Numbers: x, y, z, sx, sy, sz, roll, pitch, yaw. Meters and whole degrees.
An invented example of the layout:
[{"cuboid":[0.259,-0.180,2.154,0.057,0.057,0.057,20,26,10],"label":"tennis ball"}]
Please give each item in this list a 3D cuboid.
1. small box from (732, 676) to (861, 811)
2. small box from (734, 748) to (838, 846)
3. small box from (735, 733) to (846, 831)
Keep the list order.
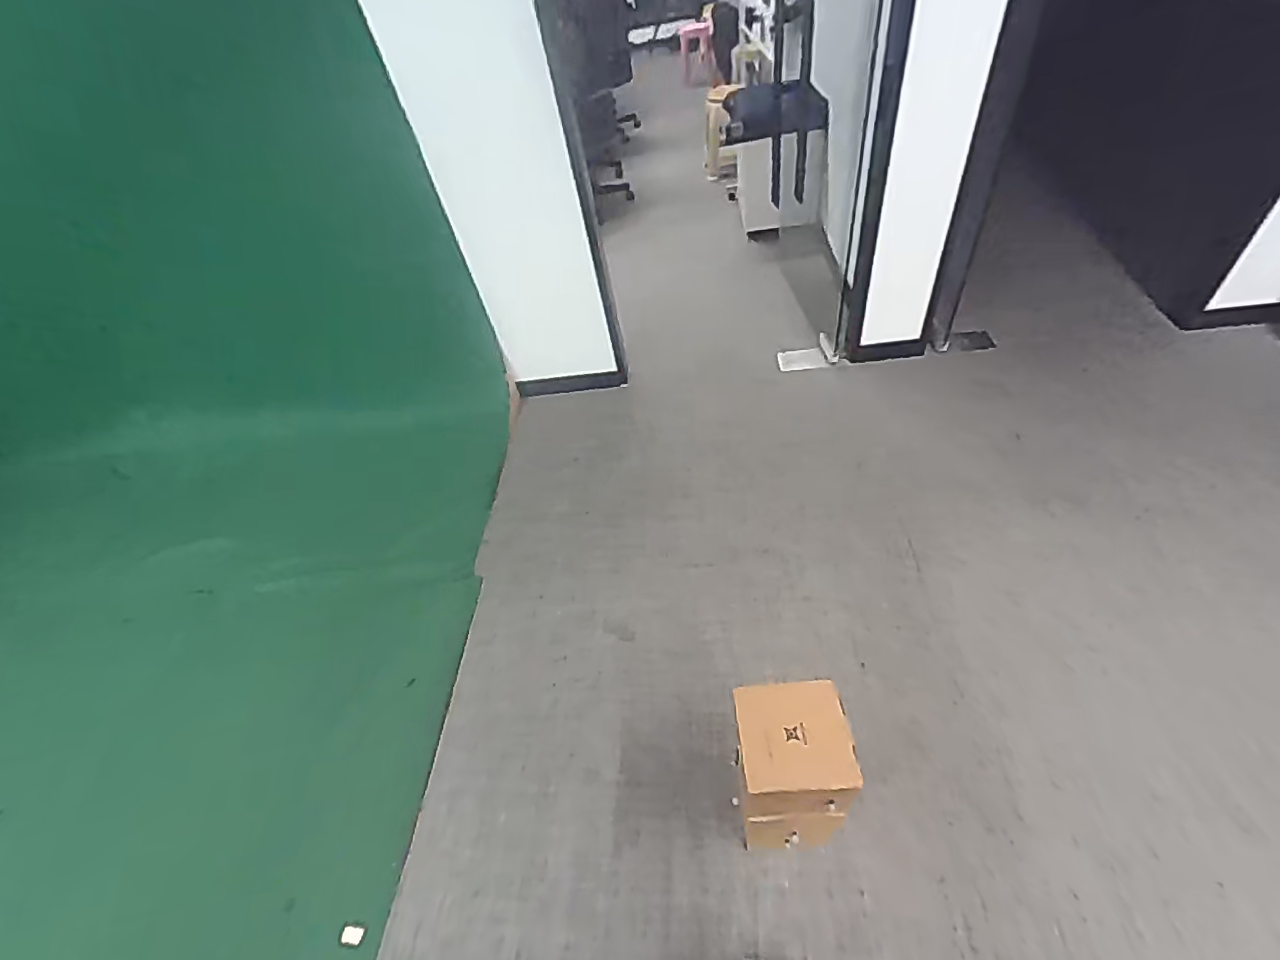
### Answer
[{"cuboid":[0.259,0.458,0.934,0.179,0.176,0.168,-8,46,6],"label":"small box"},{"cuboid":[0.305,0.675,1.172,0.179,0.176,0.168,-10,47,2],"label":"small box"},{"cuboid":[0.280,0.570,1.050,0.179,0.176,0.168,-7,47,5],"label":"small box"}]
